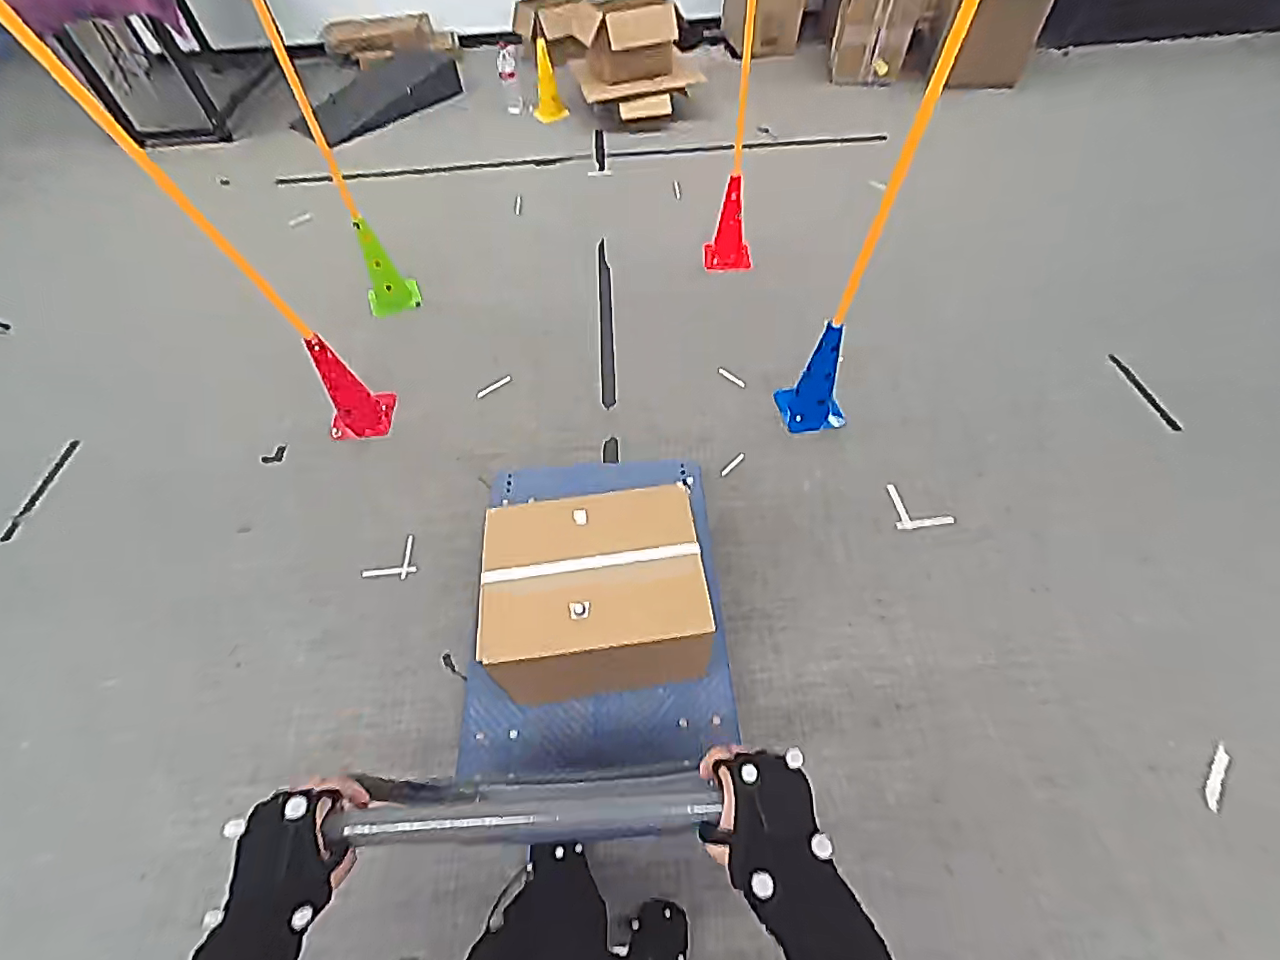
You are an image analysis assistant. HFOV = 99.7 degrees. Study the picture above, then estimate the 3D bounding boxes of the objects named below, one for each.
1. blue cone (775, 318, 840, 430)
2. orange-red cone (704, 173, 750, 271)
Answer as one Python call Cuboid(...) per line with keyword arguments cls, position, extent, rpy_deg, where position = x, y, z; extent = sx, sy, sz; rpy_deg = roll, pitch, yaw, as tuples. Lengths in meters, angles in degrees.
Cuboid(cls="blue cone", position=(0.570, -0.345, 1.723), extent=(0.193, 0.380, 0.192), rpy_deg=(-8, 53, -4))
Cuboid(cls="orange-red cone", position=(0.376, -1.075, 2.233), extent=(0.199, 0.360, 0.198), rpy_deg=(2, 55, 2))
